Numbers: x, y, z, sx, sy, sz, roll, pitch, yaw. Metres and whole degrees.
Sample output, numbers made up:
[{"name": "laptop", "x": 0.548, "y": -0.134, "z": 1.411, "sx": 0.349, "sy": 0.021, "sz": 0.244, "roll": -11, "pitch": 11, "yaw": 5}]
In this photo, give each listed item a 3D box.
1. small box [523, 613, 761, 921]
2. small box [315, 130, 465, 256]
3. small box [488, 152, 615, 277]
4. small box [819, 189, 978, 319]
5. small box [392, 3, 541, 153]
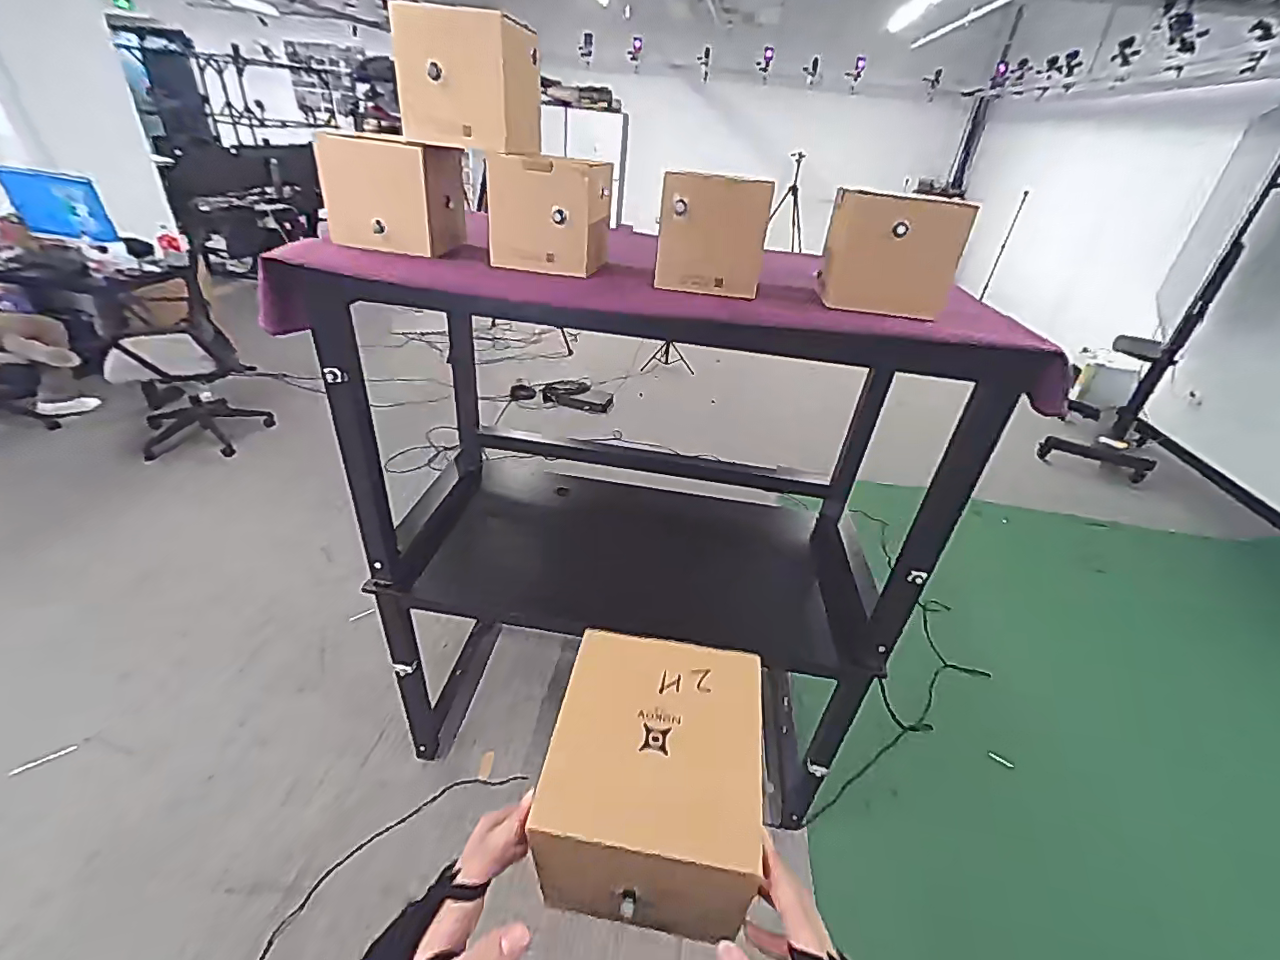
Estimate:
[{"name": "small box", "x": 0.012, "y": 0.250, "z": 0.479, "sx": 0.168, "sy": 0.176, "sz": 0.179, "roll": 8, "pitch": 37, "yaw": 8}, {"name": "small box", "x": -0.413, "y": -0.493, "z": 0.933, "sx": 0.179, "sy": 0.176, "sz": 0.168, "roll": 8, "pitch": 32, "yaw": 1}, {"name": "small box", "x": -0.143, "y": -0.453, "z": 0.920, "sx": 0.168, "sy": 0.176, "sz": 0.179, "roll": 10, "pitch": 31, "yaw": 5}, {"name": "small box", "x": 0.402, "y": -0.370, "z": 0.882, "sx": 0.179, "sy": 0.176, "sz": 0.168, "roll": 9, "pitch": 31, "yaw": 4}, {"name": "small box", "x": -0.256, "y": -0.612, "z": 0.846, "sx": 0.168, "sy": 0.176, "sz": 0.179, "roll": 9, "pitch": 31, "yaw": 4}]
